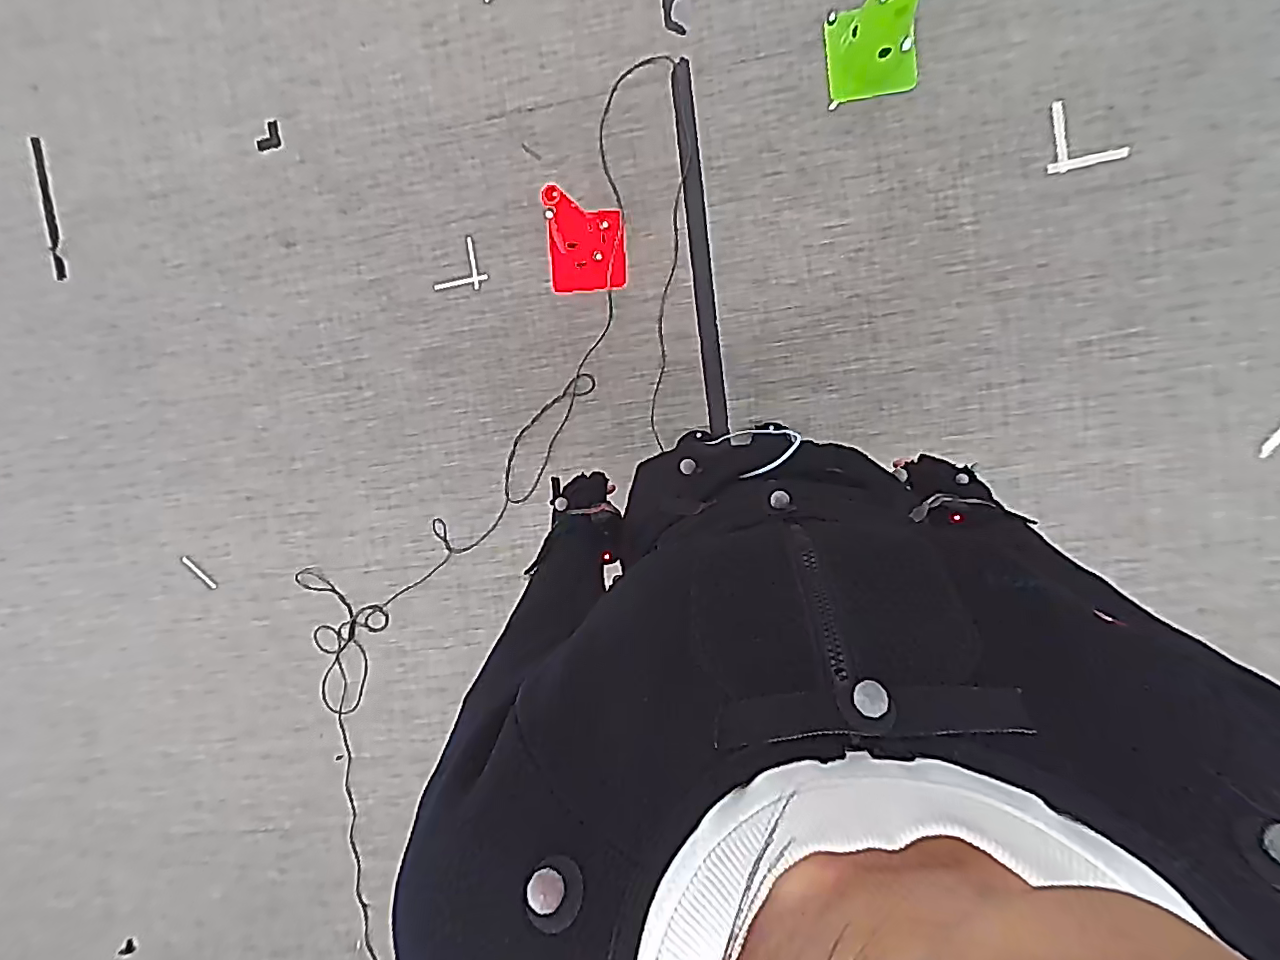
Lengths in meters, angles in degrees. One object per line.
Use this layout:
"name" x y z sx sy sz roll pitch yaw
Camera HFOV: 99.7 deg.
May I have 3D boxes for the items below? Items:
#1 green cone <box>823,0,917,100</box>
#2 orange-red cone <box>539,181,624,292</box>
"green cone" 0.526 -0.998 1.109 0.202 0.368 0.200 -7 95 6
"orange-red cone" -0.161 -0.579 1.231 0.199 0.360 0.198 -2 94 8
